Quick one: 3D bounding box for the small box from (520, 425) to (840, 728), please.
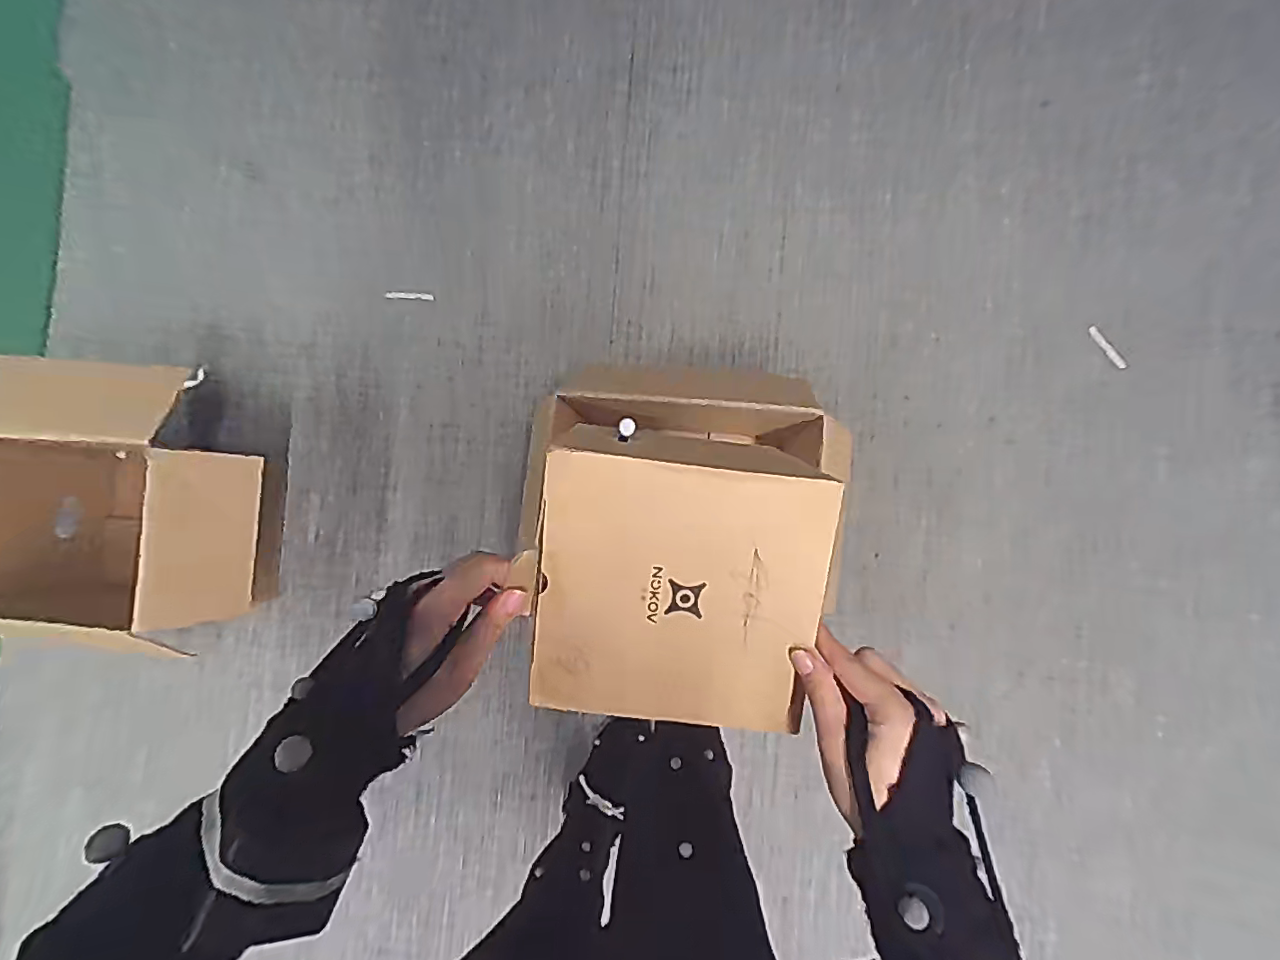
[{"bbox_3d":[0.019,0.053,0.403,0.179,0.176,0.168,7,100,-3],"label":"small box"}]
